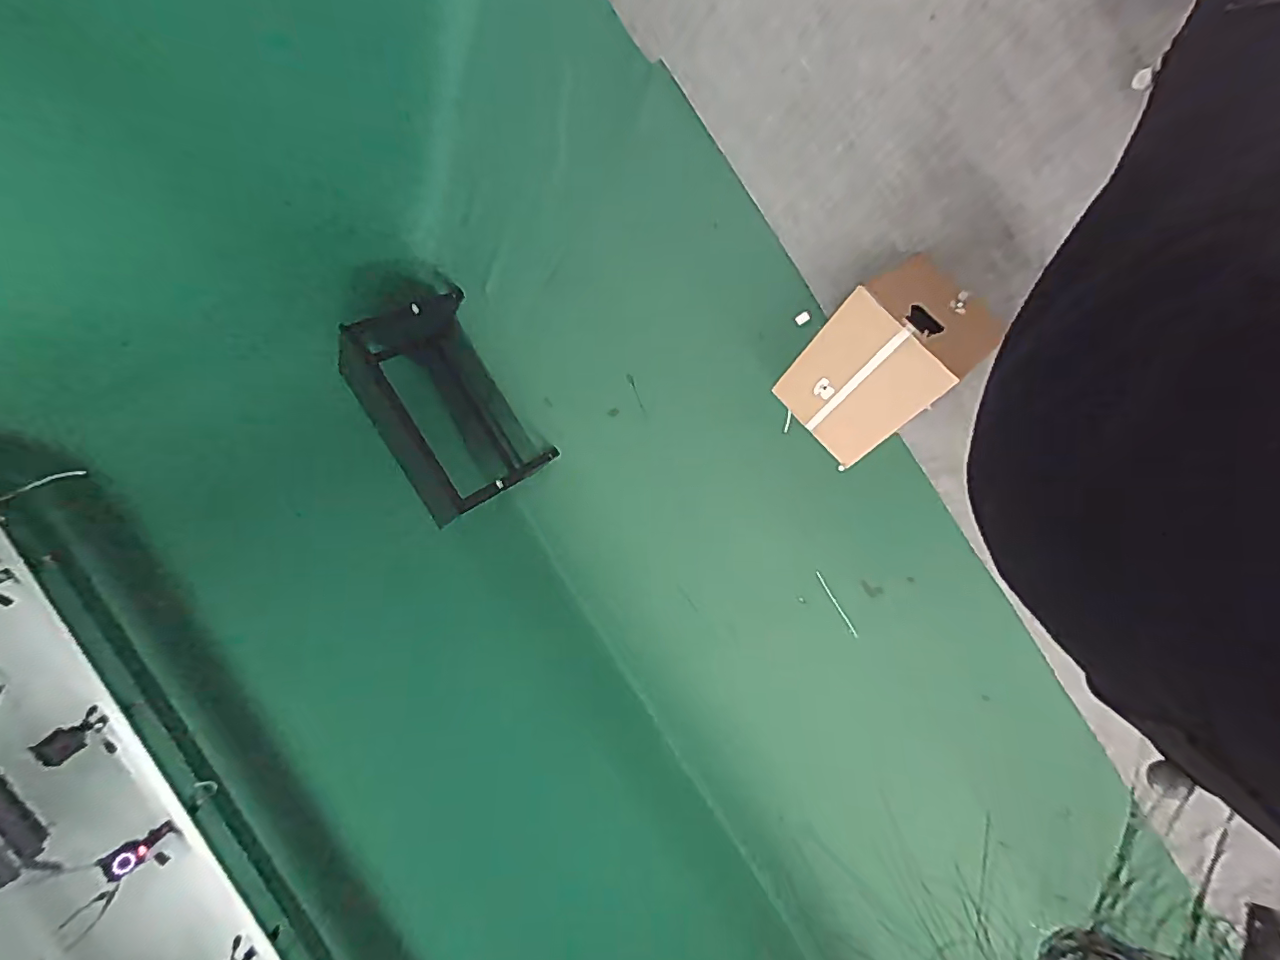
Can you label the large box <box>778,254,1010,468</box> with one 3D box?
[{"bbox_3d":[0.653,-0.309,1.434,0.320,0.320,0.408,51,148,12],"label":"large box"}]
